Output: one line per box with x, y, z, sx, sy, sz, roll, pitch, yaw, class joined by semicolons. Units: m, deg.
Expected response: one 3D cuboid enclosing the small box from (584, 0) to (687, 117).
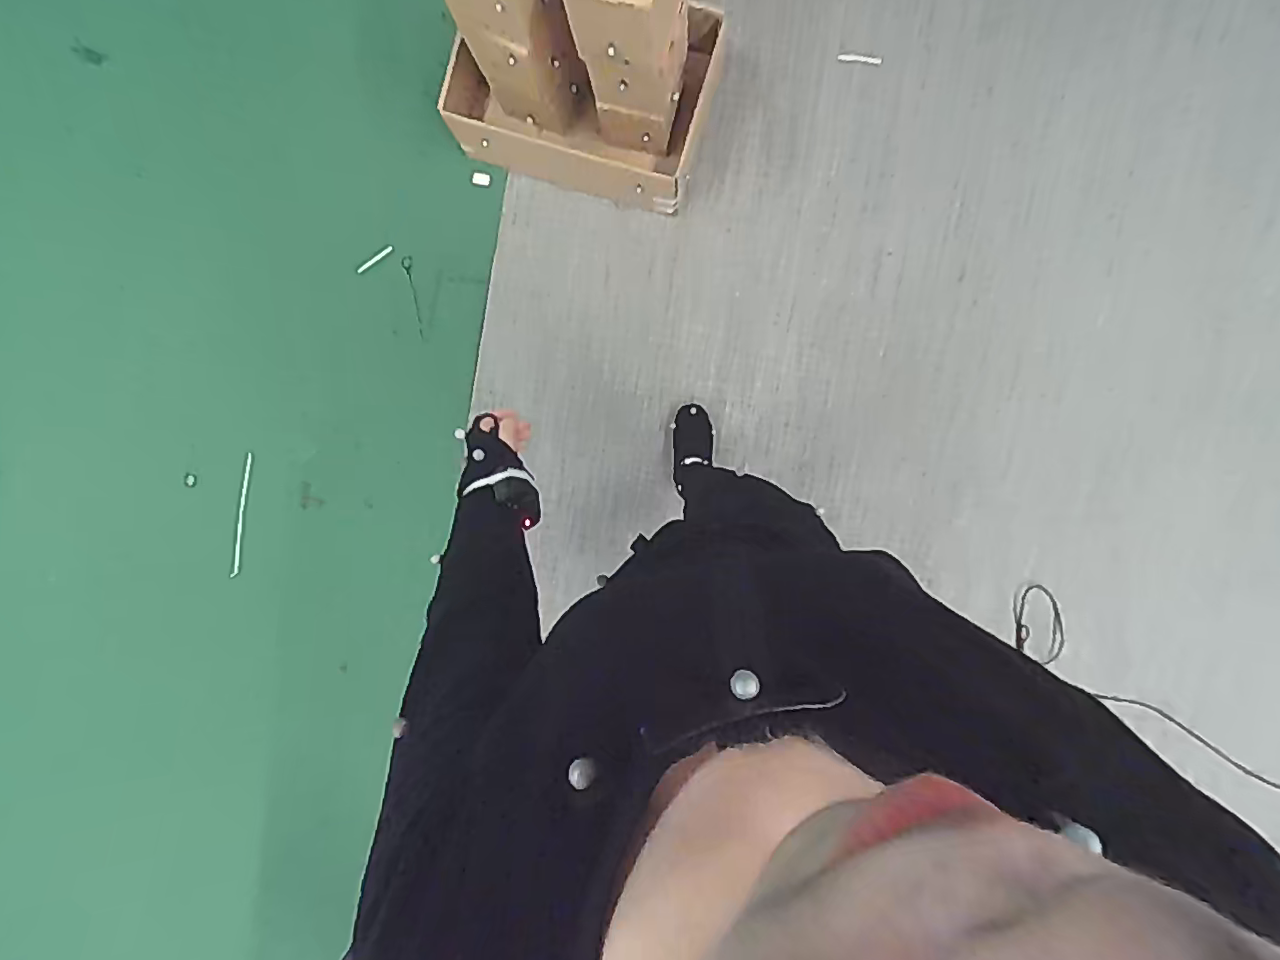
-0.002;-0.918;1.155;0.179;0.176;0.168;16;95;5;small box

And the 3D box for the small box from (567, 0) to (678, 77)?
-0.028;-0.899;0.993;0.168;0.176;0.179;17;95;5;small box
